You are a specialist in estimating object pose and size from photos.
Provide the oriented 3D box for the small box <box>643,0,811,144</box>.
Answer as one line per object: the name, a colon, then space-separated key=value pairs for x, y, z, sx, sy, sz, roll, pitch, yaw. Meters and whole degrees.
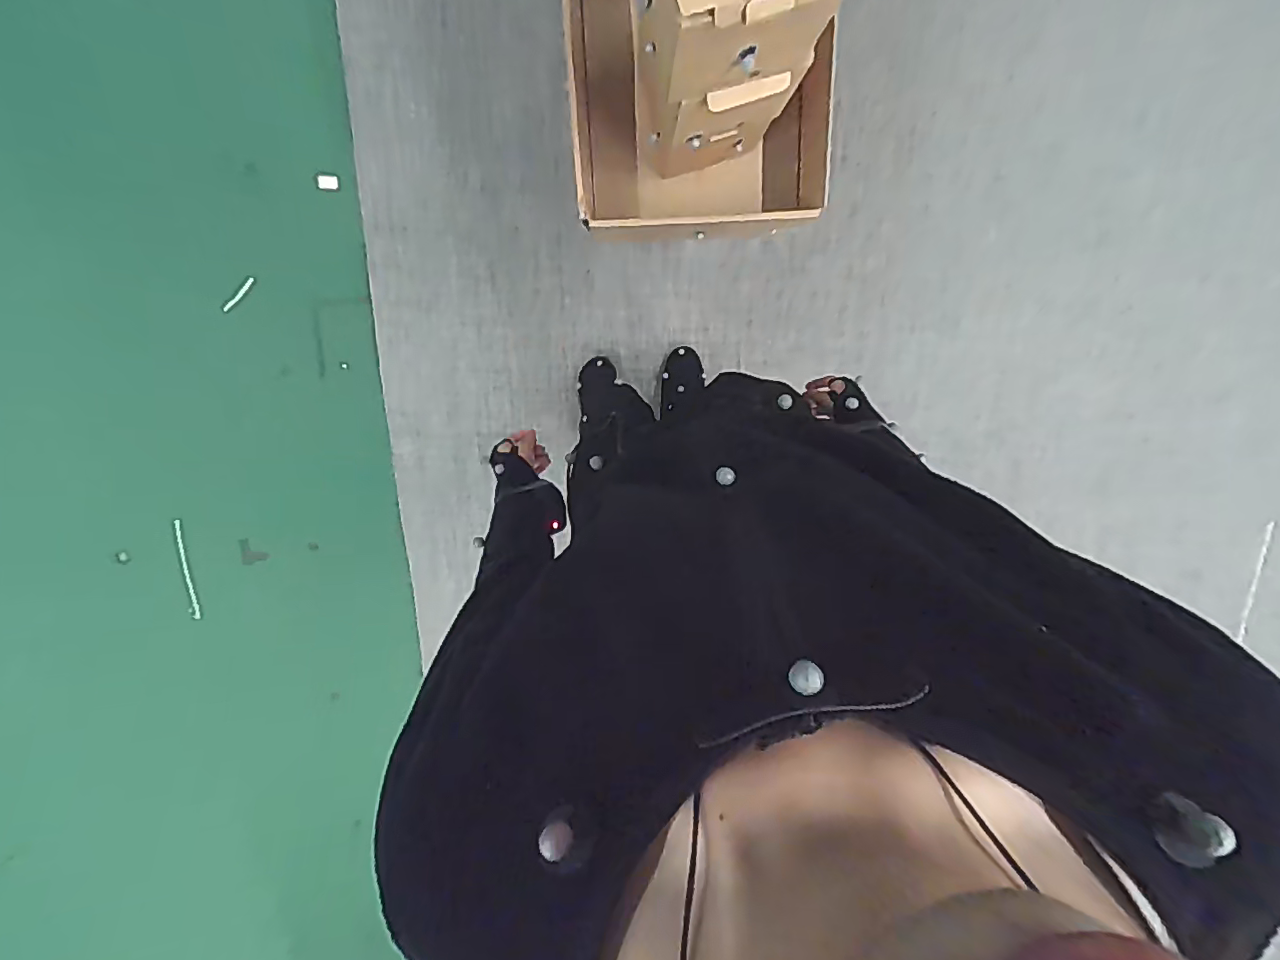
small box: x=0.104 y=-0.568 z=0.704 sx=0.168 sy=0.176 sz=0.179 roll=-15 pitch=103 yaw=3

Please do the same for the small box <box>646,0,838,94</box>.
small box: x=0.093 y=-0.525 z=0.545 sx=0.168 sy=0.176 sz=0.179 roll=-13 pitch=105 yaw=2

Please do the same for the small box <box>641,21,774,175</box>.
small box: x=0.102 y=-0.611 z=0.861 sx=0.168 sy=0.176 sz=0.179 roll=-15 pitch=103 yaw=3
